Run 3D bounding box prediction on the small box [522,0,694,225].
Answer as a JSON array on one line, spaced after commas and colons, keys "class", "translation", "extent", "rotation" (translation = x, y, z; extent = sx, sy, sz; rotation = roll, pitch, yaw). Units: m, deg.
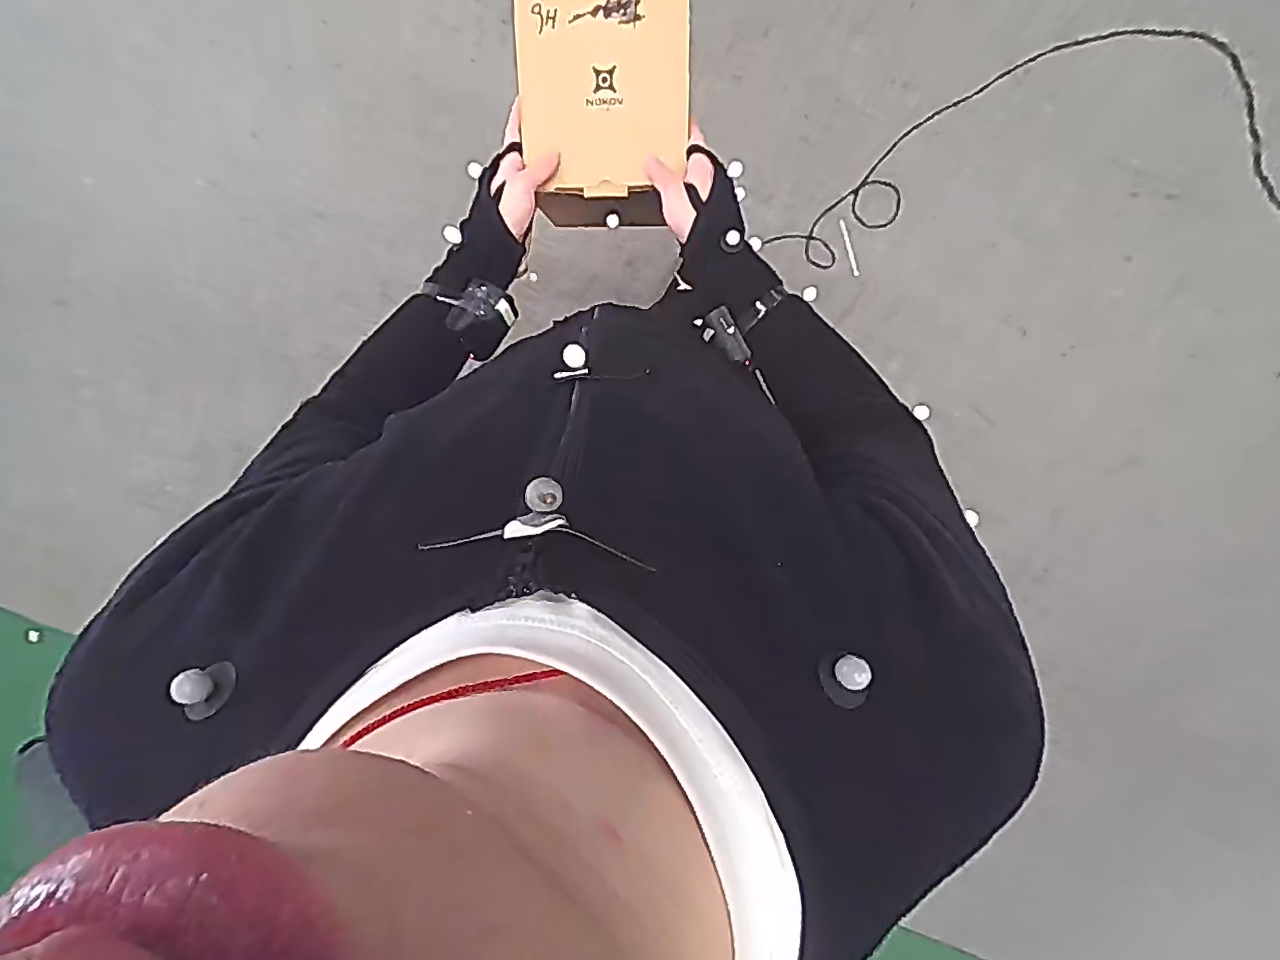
[{"class": "small box", "translation": [-0.025, -0.395, 0.608], "extent": [0.168, 0.176, 0.179], "rotation": [-2, 104, 3]}]
